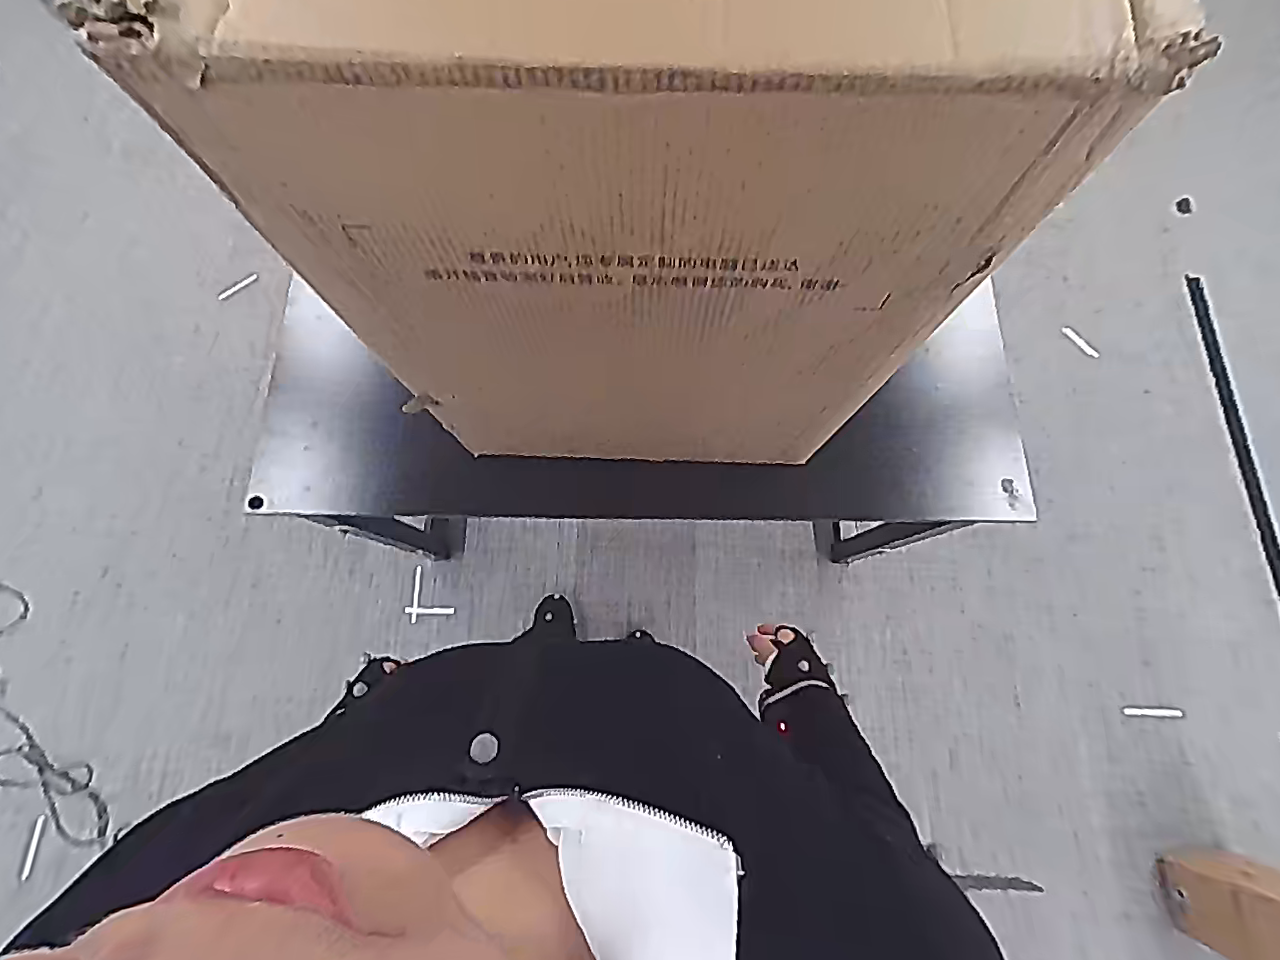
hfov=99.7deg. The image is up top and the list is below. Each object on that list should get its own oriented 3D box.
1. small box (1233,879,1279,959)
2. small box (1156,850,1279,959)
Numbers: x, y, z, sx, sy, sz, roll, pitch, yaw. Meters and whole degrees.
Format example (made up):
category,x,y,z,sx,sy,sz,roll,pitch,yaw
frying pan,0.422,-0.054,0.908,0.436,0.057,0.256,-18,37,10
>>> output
category,x,y,z,sx,sy,sz,roll,pitch,yaw
small box,1.370,0.937,1.088,0.168,0.176,0.179,0,75,0
small box,1.369,0.979,1.248,0.179,0.176,0.168,-4,74,0
